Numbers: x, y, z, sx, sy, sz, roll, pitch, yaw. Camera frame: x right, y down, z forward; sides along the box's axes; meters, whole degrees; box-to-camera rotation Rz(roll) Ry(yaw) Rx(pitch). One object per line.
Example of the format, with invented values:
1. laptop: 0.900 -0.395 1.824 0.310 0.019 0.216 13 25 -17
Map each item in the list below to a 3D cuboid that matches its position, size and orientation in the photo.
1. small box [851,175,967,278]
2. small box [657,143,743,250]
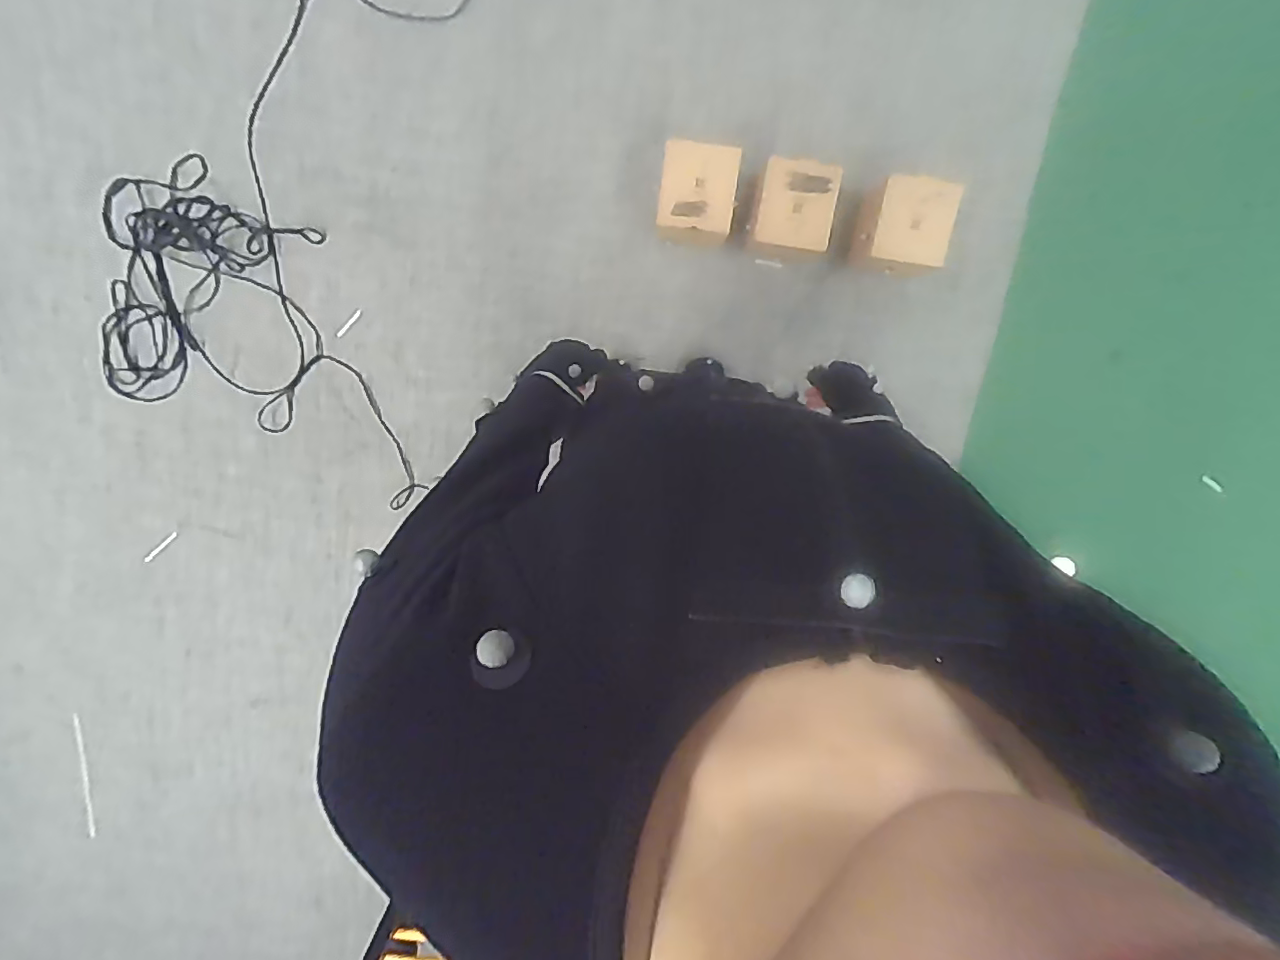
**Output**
1. small box: 0.610 -0.577 1.253 0.168 0.176 0.179 8 103 -1
2. small box: 0.134 -0.644 1.250 0.168 0.176 0.179 7 102 1
